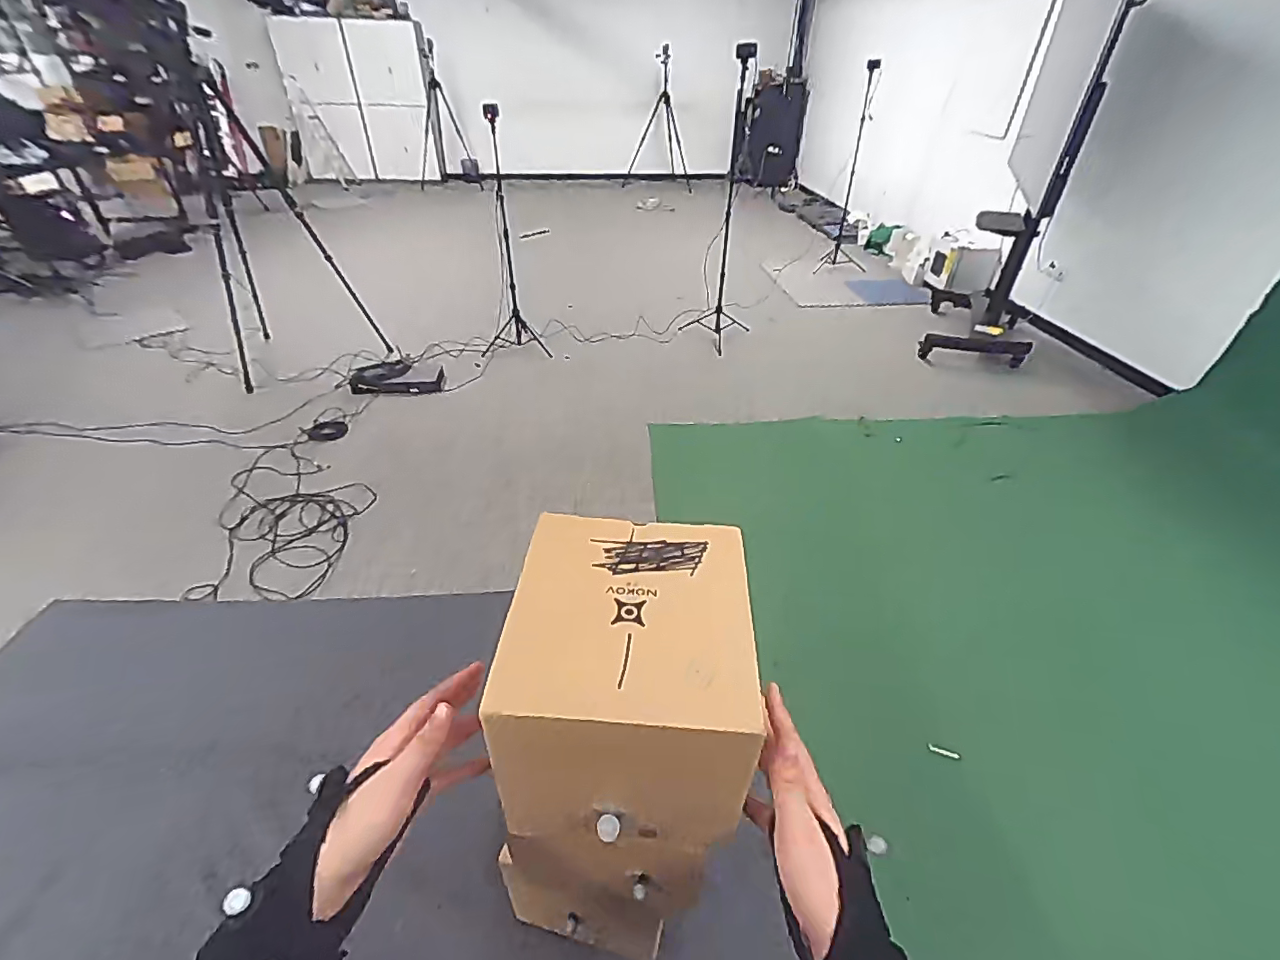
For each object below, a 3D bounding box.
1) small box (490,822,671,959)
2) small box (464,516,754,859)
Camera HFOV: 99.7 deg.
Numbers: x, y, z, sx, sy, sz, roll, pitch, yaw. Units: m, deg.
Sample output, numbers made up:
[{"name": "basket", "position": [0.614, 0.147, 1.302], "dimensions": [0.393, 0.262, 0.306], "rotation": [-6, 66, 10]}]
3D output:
[{"name": "small box", "position": [-0.046, 0.402, 0.617], "dimensions": [0.168, 0.176, 0.179], "rotation": [10, 37, 11]}, {"name": "small box", "position": [-0.015, 0.150, 0.410], "dimensions": [0.168, 0.176, 0.179], "rotation": [3, 37, 2]}]
